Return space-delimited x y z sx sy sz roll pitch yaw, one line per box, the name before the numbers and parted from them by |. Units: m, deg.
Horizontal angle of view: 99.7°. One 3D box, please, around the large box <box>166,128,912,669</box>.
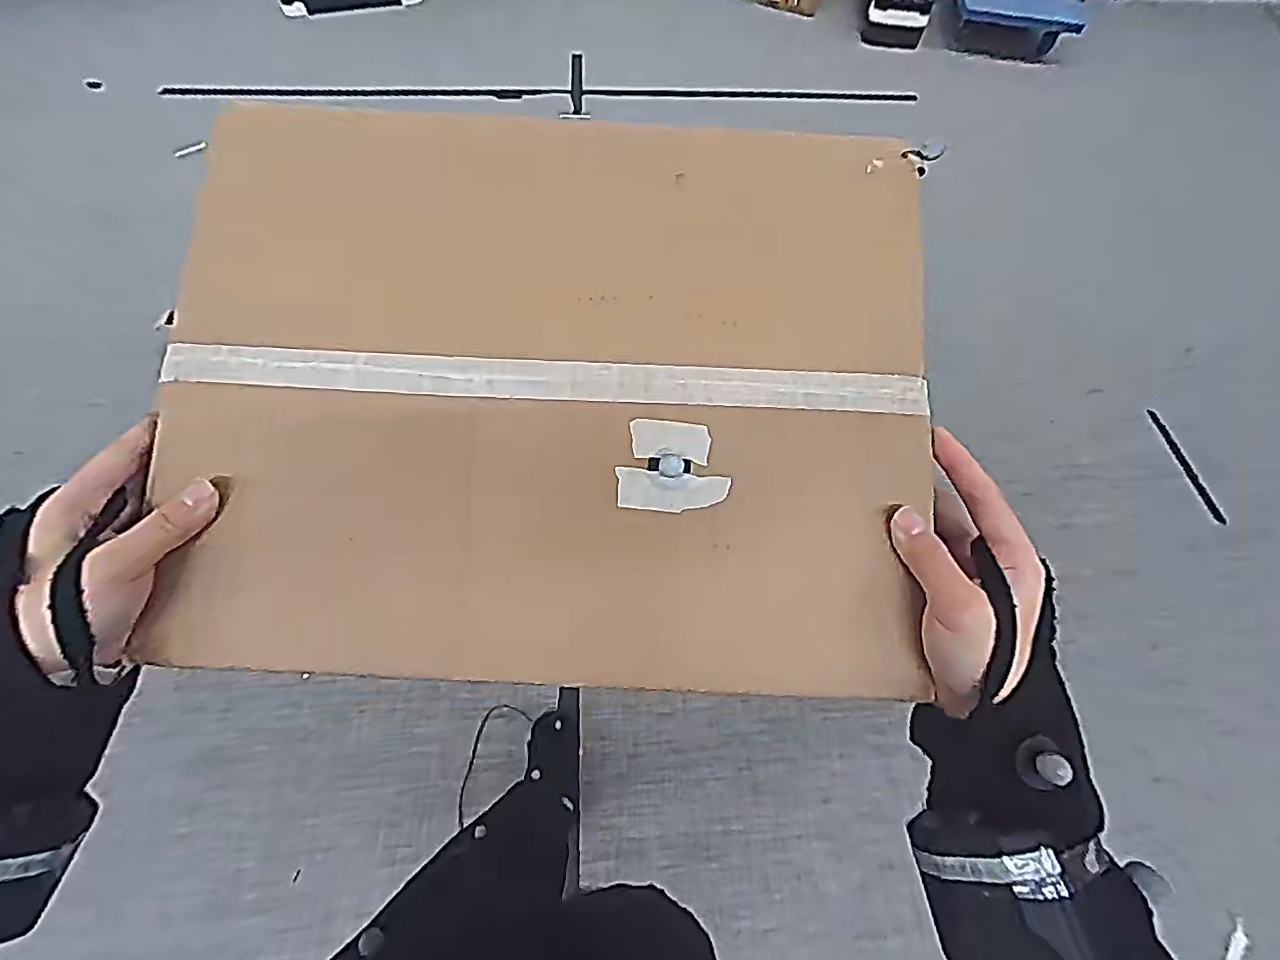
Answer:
large box | -0.050 -0.034 0.455 0.408 0.320 0.320 3 82 -1
